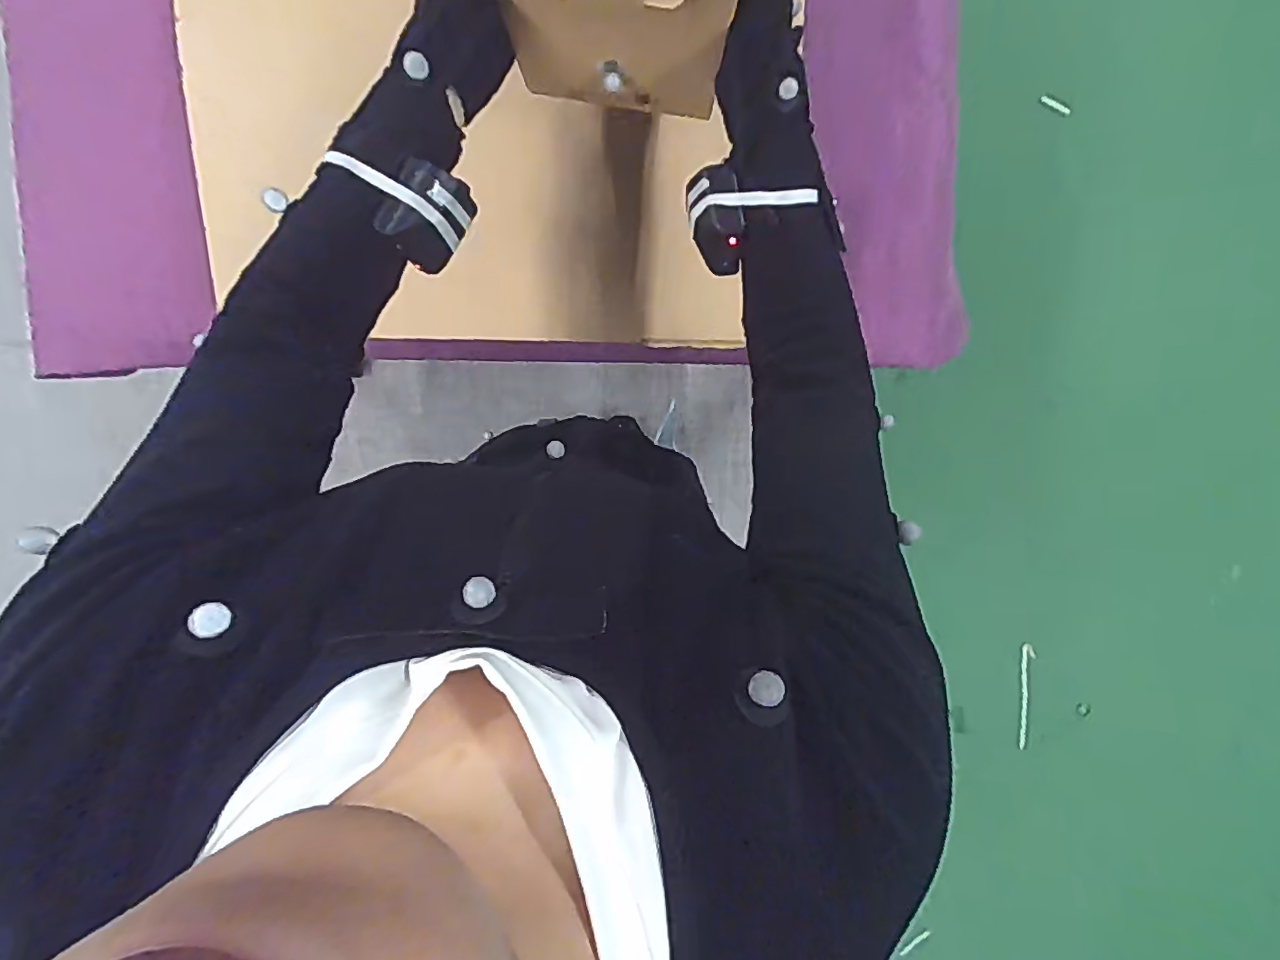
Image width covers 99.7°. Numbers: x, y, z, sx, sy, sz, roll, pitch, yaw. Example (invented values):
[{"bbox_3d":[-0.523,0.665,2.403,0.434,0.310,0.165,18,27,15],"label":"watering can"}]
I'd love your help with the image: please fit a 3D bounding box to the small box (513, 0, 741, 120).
[{"bbox_3d":[-0.003,-0.407,0.391,0.168,0.176,0.179,10,99,-1],"label":"small box"}]
